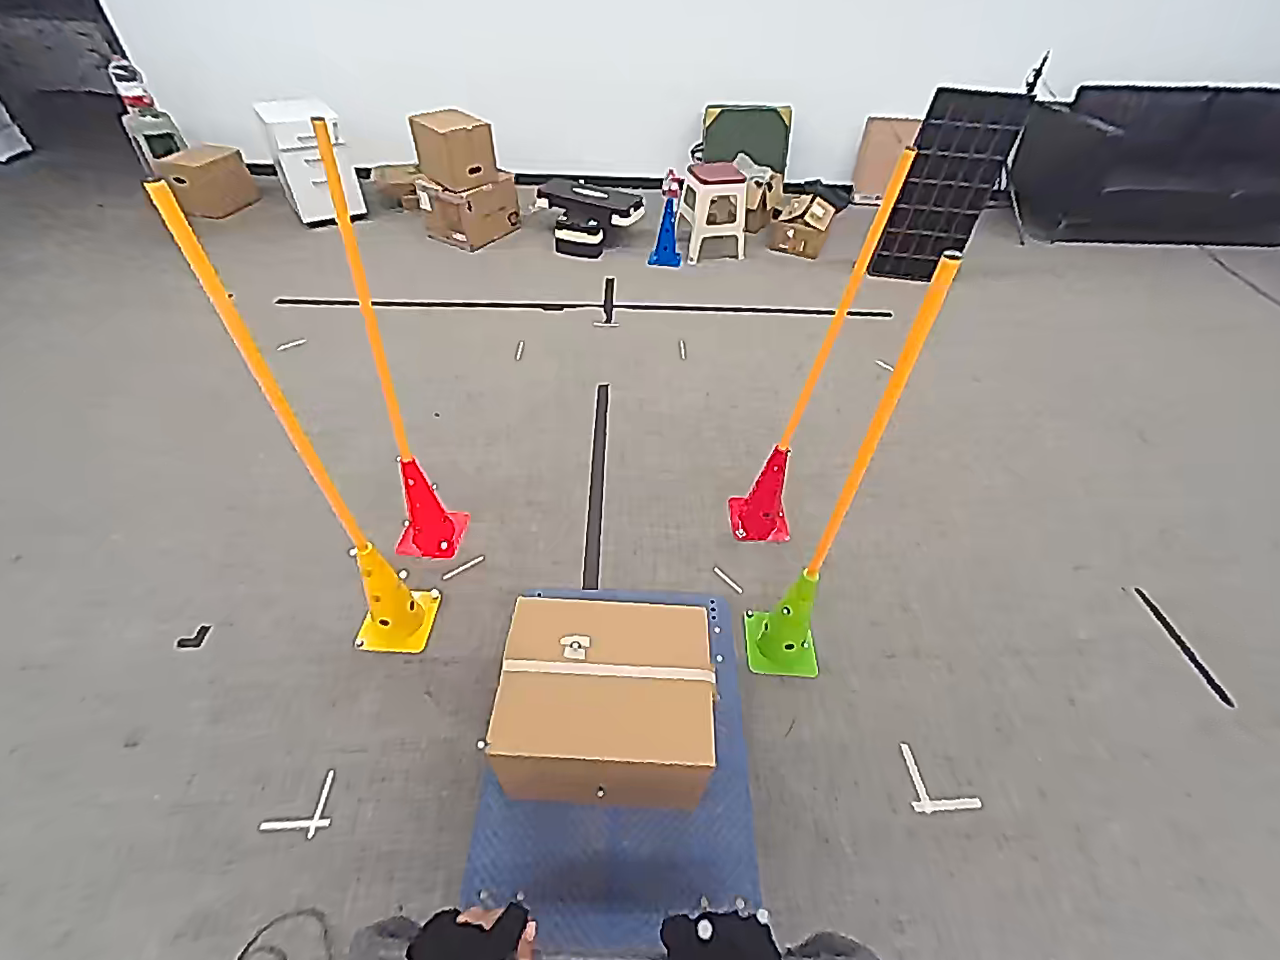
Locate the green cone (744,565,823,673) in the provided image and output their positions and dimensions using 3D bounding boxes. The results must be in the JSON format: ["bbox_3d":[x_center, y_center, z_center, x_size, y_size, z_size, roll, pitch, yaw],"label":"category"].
[{"bbox_3d":[0.426,0.358,1.494,0.202,0.368,0.200,5,46,-1],"label":"green cone"}]

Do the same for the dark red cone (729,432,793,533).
[{"bbox_3d":[0.440,-0.002,1.819,0.201,0.394,0.202,3,46,-4],"label":"dark red cone"}]

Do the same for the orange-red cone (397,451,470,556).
[{"bbox_3d":[-0.689,0.050,1.721,0.198,0.360,0.199,7,45,2],"label":"orange-red cone"}]

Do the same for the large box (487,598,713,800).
[{"bbox_3d":[-0.069,0.471,1.152,0.408,0.320,0.320,3,46,0],"label":"large box"}]
